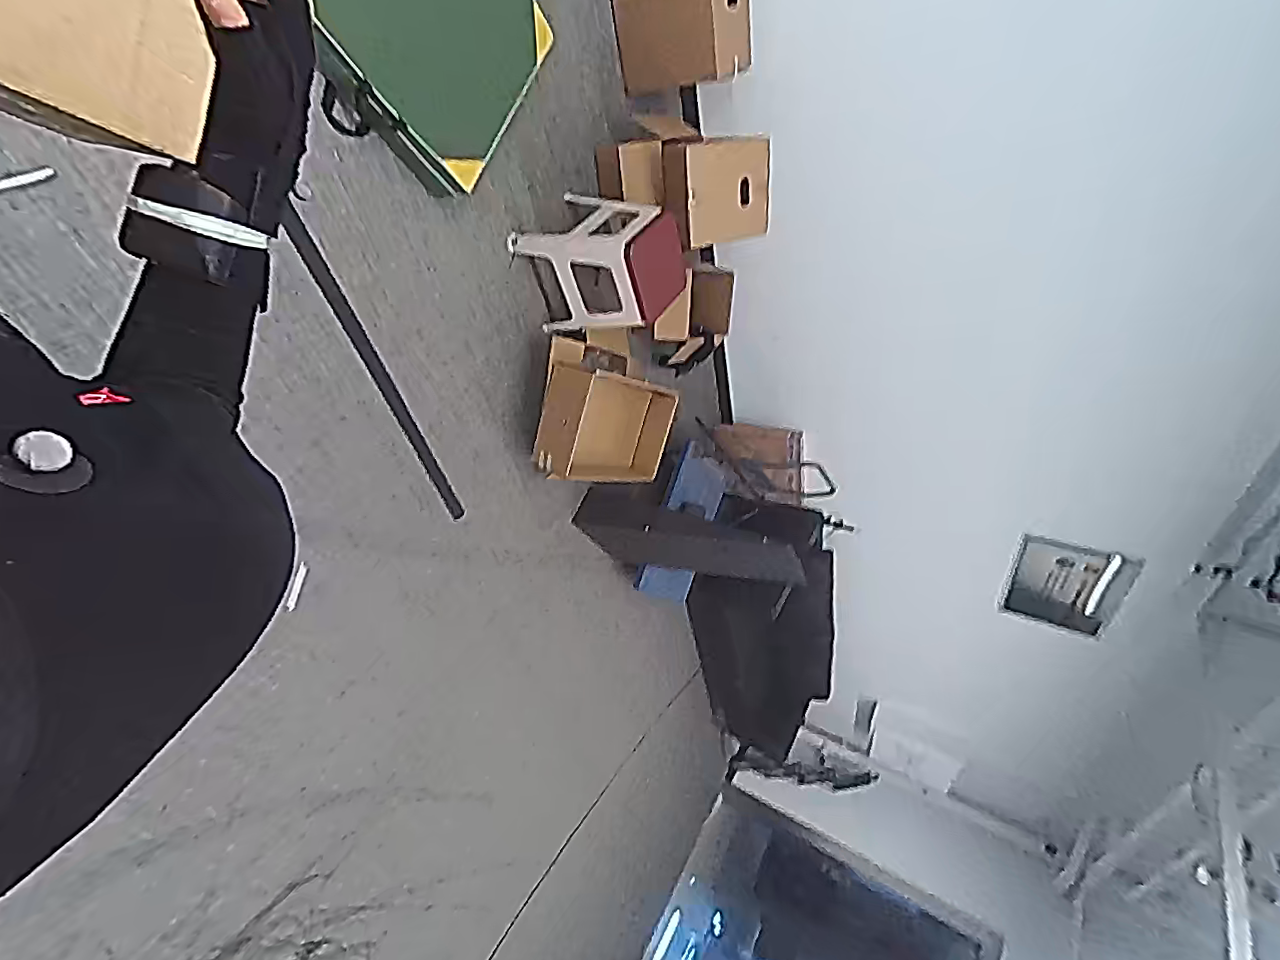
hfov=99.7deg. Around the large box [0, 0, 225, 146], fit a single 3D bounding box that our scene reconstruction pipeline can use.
[{"bbox_3d":[-0.471,-0.422,0.247,0.408,0.320,0.320,3,111,-57],"label":"large box"}]
